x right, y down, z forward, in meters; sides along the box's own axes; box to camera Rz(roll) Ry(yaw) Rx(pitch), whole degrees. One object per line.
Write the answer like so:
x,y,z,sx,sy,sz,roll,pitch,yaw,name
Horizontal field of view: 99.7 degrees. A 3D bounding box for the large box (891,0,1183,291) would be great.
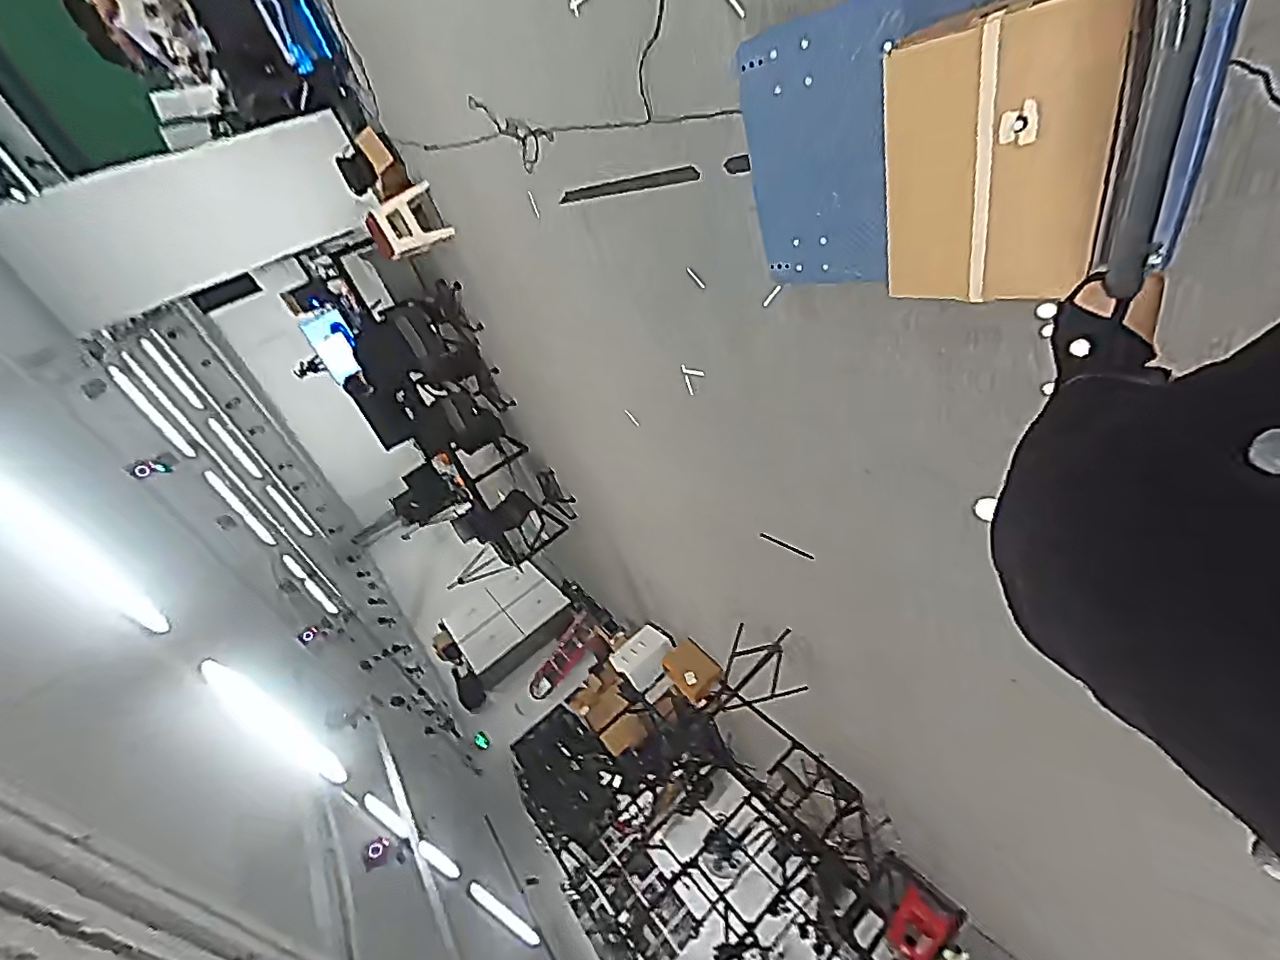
0.660,-0.578,0.926,0.320,0.320,0.408,19,139,43,large box
